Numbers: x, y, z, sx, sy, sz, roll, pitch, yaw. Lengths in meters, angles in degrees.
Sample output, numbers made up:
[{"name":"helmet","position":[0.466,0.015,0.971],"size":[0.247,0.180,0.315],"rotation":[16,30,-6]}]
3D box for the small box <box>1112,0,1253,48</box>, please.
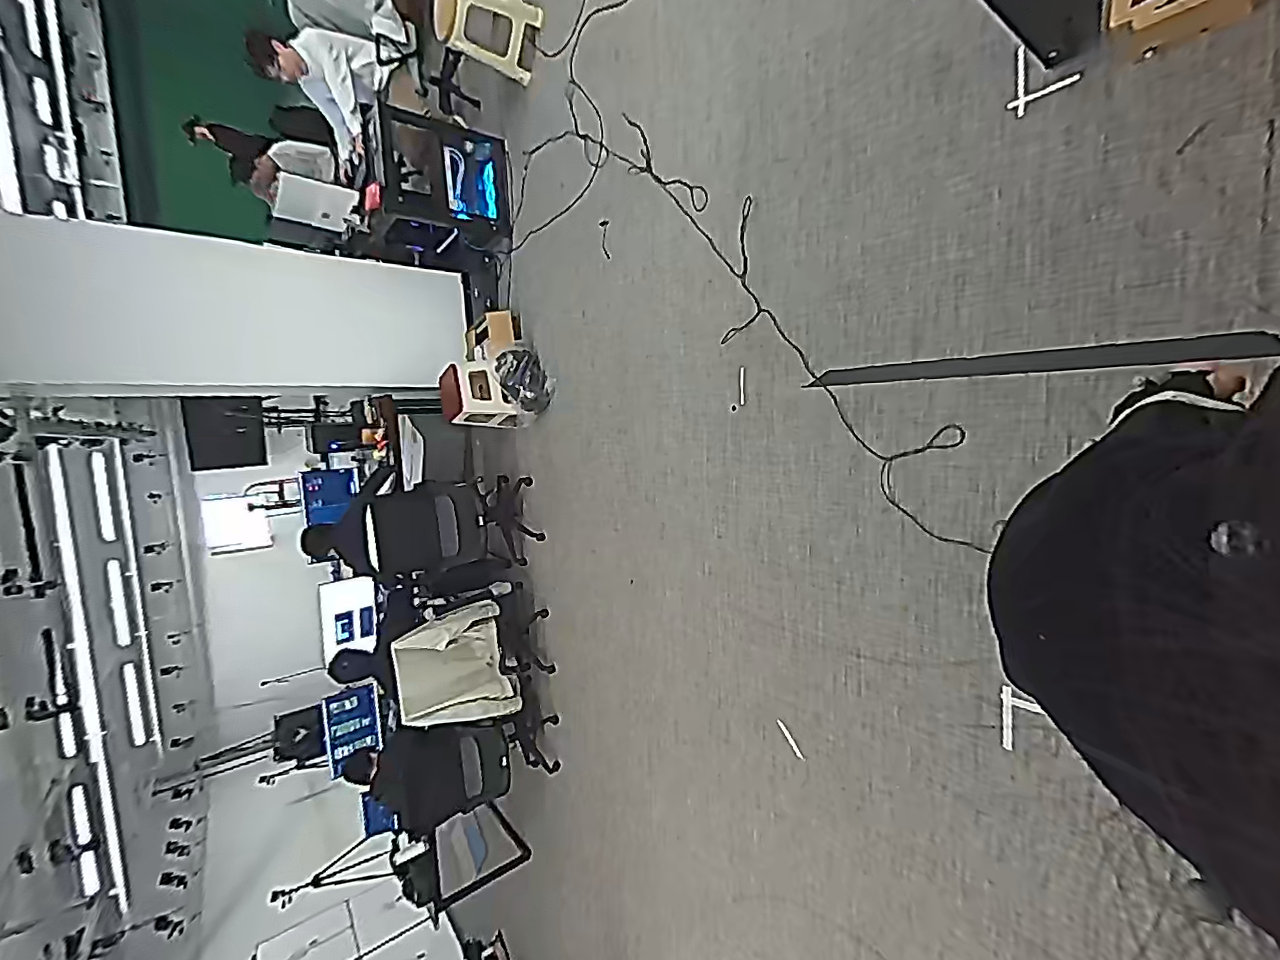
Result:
[{"name":"small box","position":[0.983,-0.924,0.970],"size":[0.168,0.176,0.179],"rotation":[8,101,52]}]
